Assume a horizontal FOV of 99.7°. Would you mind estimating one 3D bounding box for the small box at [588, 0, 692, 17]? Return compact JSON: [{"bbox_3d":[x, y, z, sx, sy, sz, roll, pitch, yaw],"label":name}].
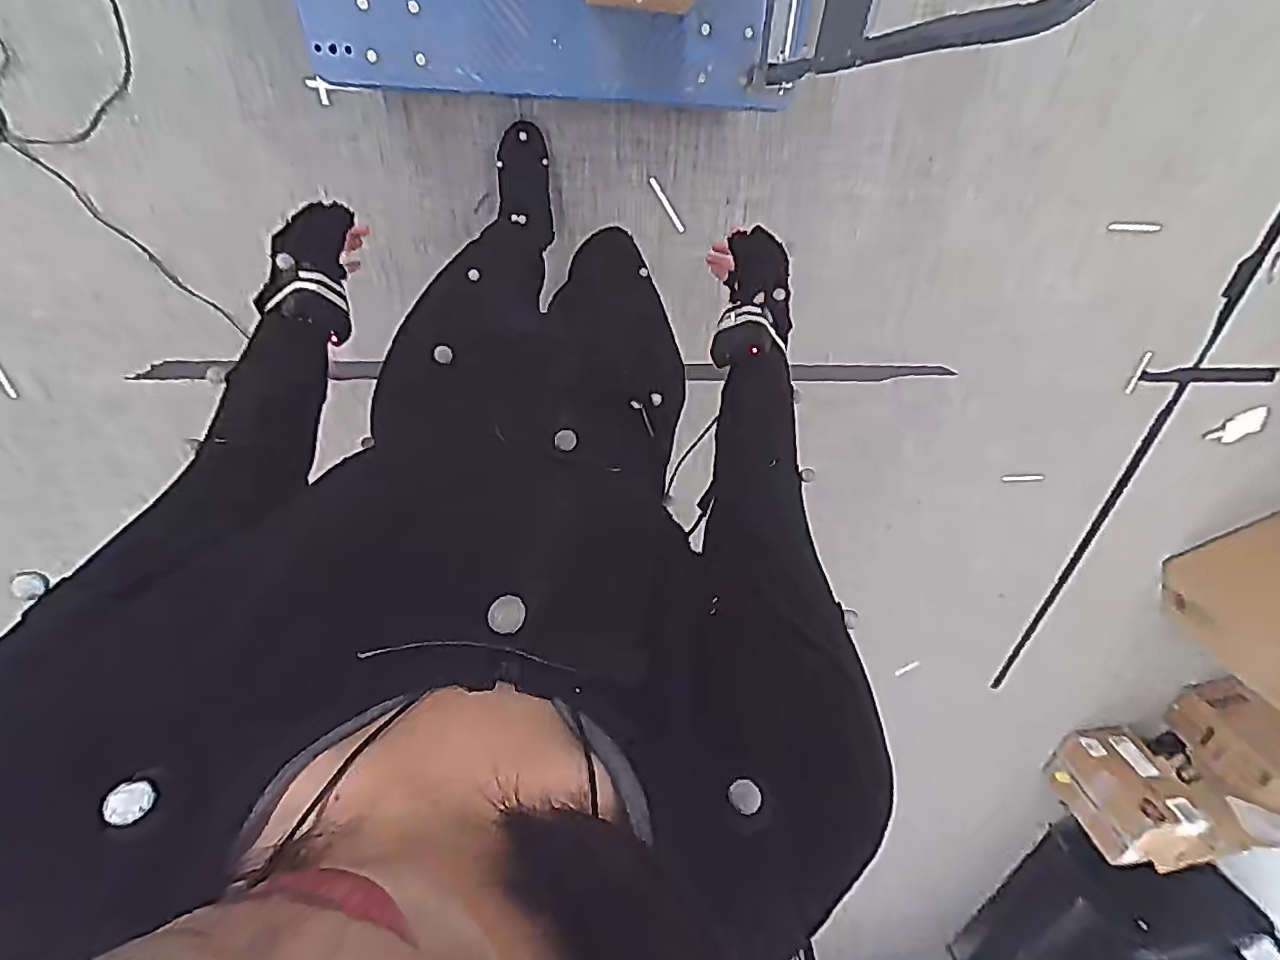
[{"bbox_3d":[0.008,-0.837,0.827,0.179,0.176,0.168,-1,122,-10],"label":"small box"}]
